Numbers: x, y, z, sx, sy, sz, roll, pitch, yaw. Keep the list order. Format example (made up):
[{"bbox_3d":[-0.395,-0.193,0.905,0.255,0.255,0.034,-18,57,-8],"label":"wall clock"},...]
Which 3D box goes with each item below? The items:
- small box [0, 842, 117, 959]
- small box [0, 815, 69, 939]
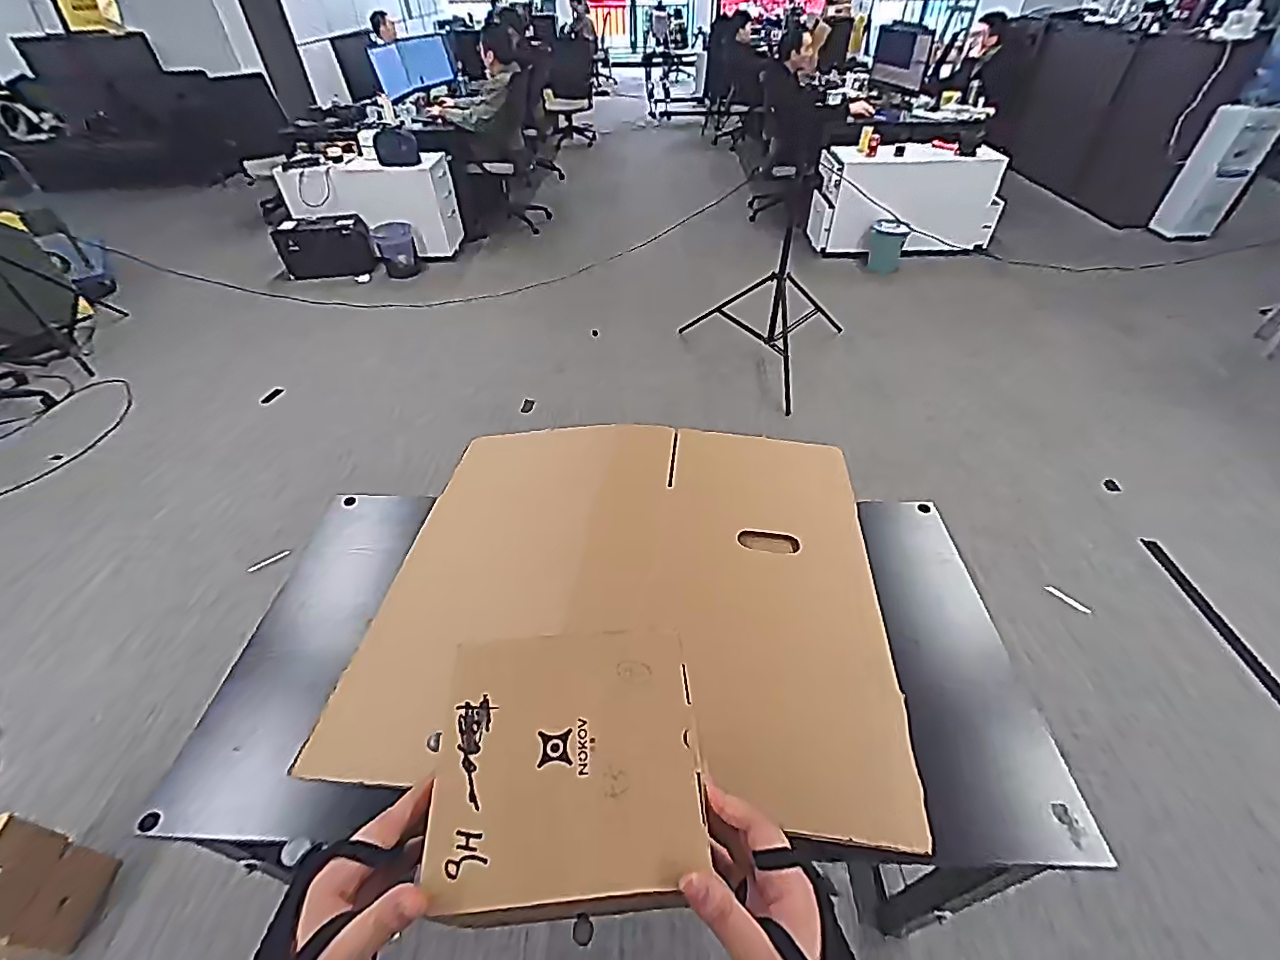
[{"bbox_3d":[-1.296,0.904,1.160,0.168,0.176,0.179,-3,44,-1],"label":"small box"},{"bbox_3d":[-1.299,0.781,1.053,0.168,0.176,0.179,-4,43,-3],"label":"small box"}]
